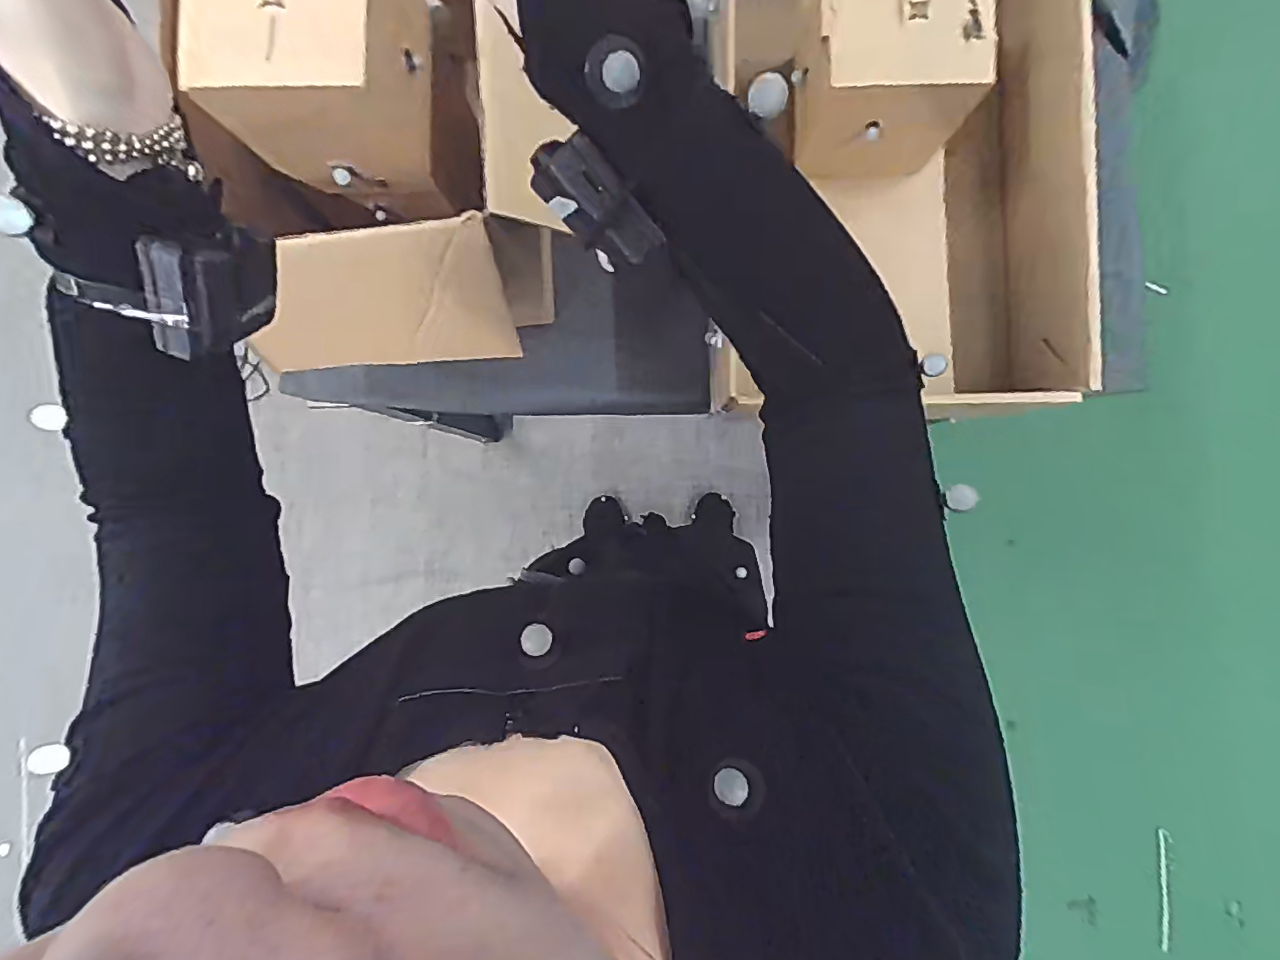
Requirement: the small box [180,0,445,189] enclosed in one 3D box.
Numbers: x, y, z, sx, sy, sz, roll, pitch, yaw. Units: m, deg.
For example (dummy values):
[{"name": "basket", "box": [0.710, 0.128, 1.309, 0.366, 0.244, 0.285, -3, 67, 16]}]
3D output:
[{"name": "small box", "box": [-0.308, -0.424, 0.542, 0.168, 0.176, 0.179, 1, 91, 2]}]
